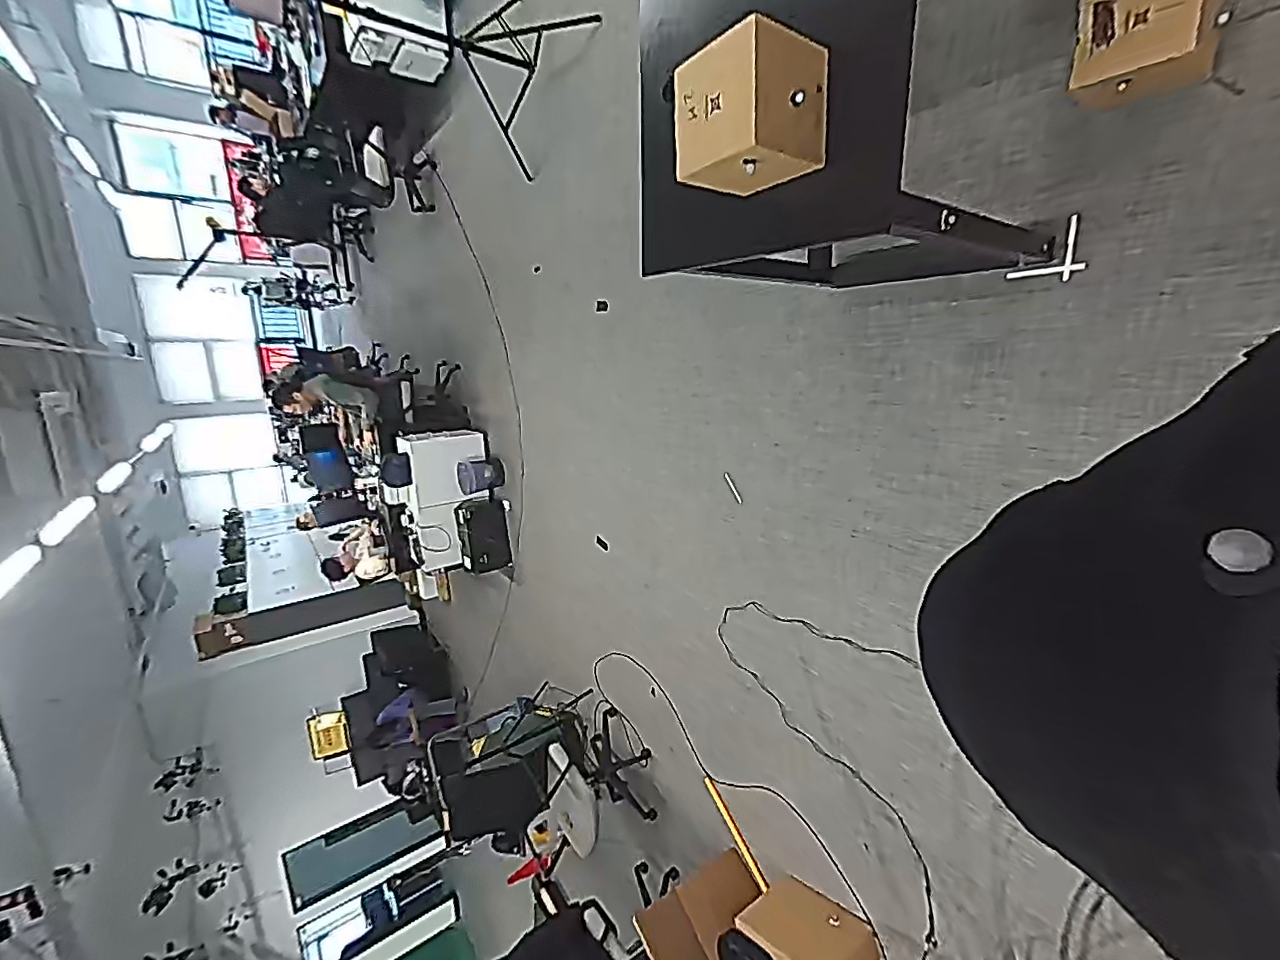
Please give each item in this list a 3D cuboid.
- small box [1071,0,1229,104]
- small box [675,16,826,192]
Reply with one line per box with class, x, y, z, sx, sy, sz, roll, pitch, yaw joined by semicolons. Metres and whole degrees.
small box;0.939;-0.829;0.996;0.179;0.176;0.168;15;111;51
small box;0.176;-0.580;0.864;0.179;0.176;0.168;14;110;53
